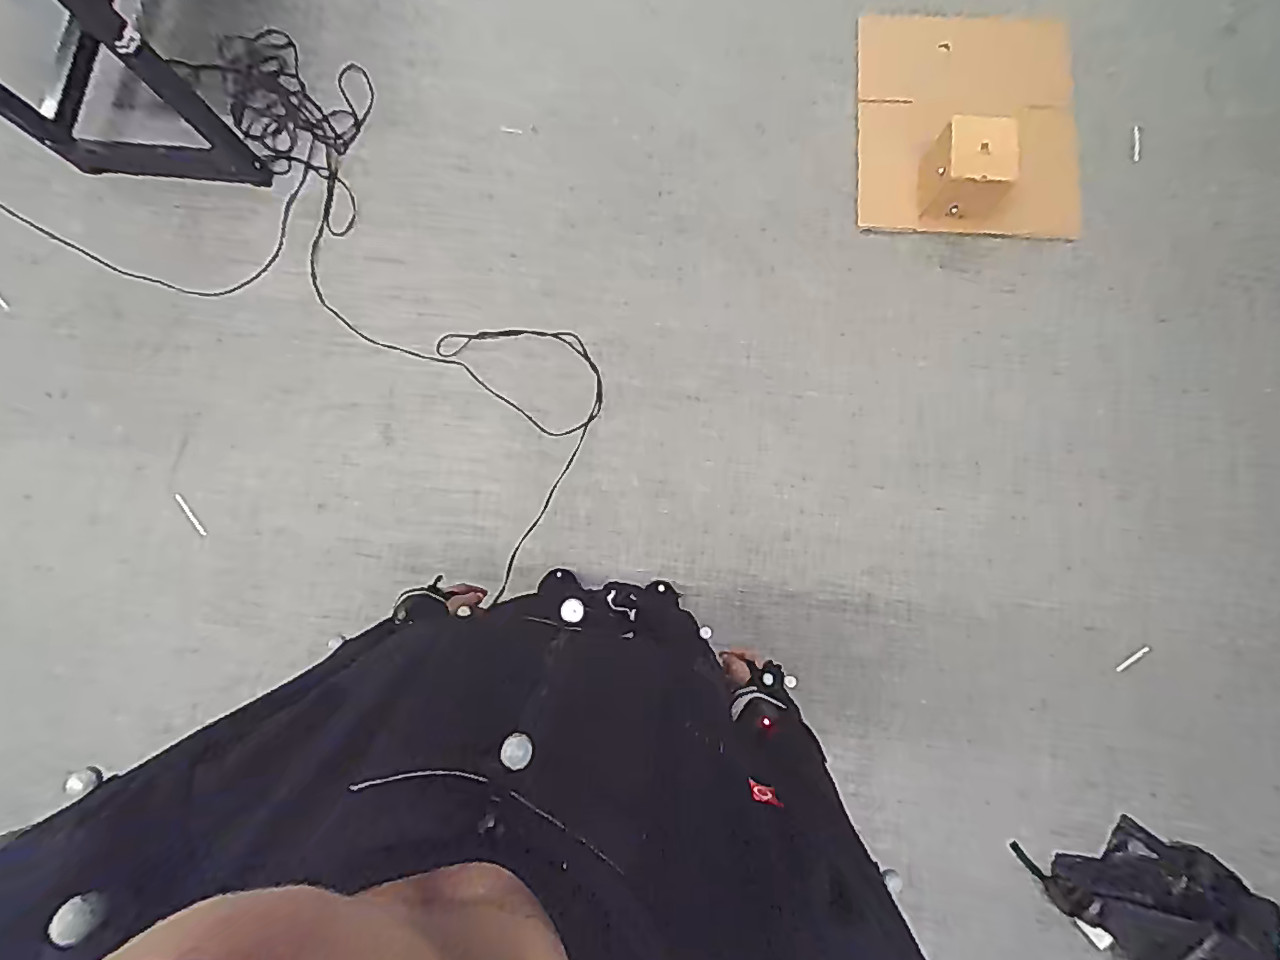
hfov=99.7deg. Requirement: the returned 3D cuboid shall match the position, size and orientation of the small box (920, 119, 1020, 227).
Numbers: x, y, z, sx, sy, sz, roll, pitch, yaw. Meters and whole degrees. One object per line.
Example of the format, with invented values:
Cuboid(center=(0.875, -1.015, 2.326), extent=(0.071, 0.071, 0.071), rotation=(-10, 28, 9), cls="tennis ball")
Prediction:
Cuboid(center=(0.857, -0.798, 1.418), extent=(0.168, 0.176, 0.179), rotation=(5, 82, 2), cls="small box")
